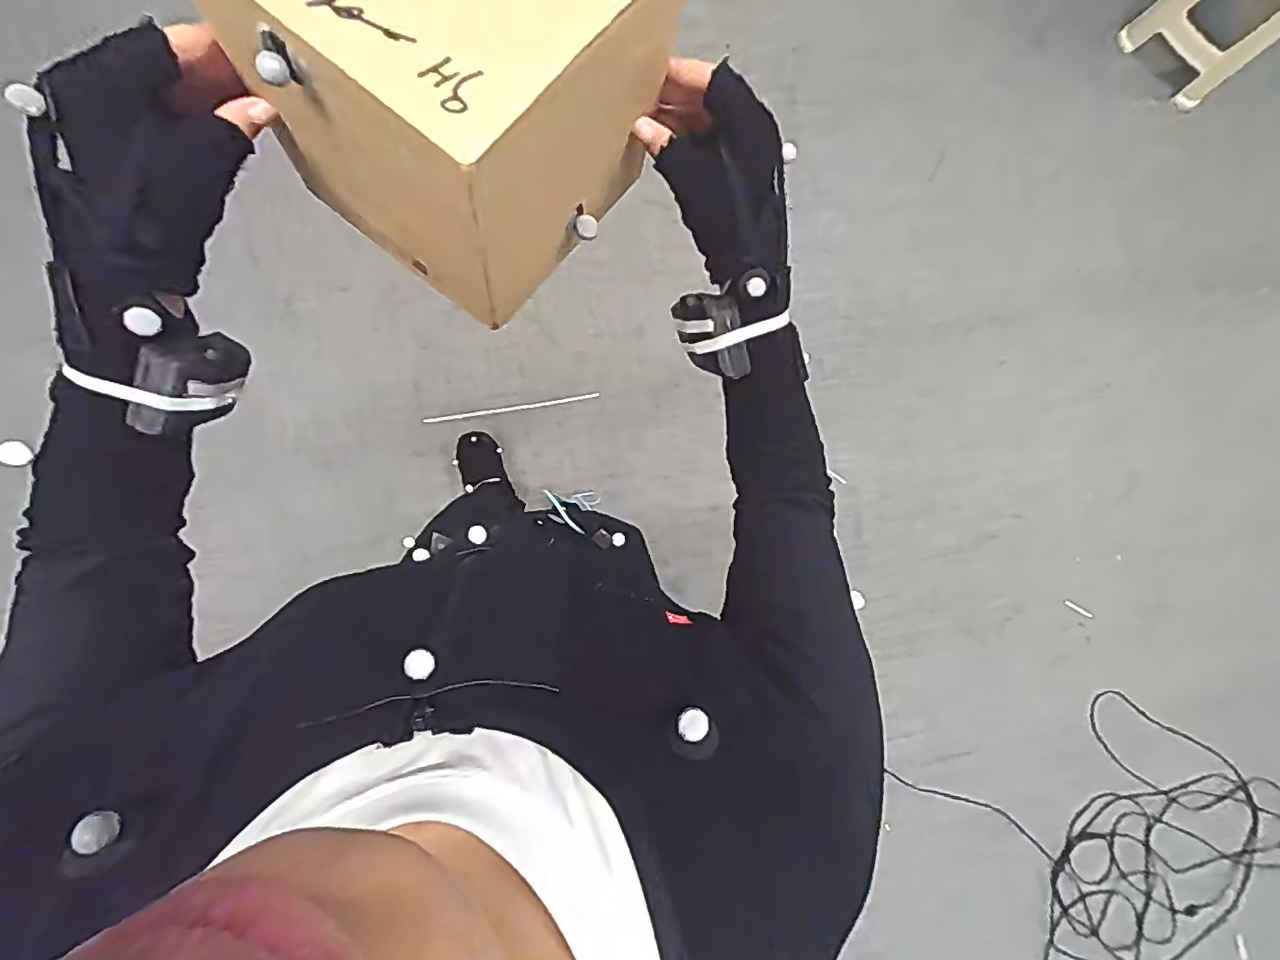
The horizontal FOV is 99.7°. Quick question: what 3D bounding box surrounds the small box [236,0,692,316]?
[{"bbox_3d":[-0.098,-0.239,0.324,0.168,0.176,0.179,39,76,-3],"label":"small box"}]
